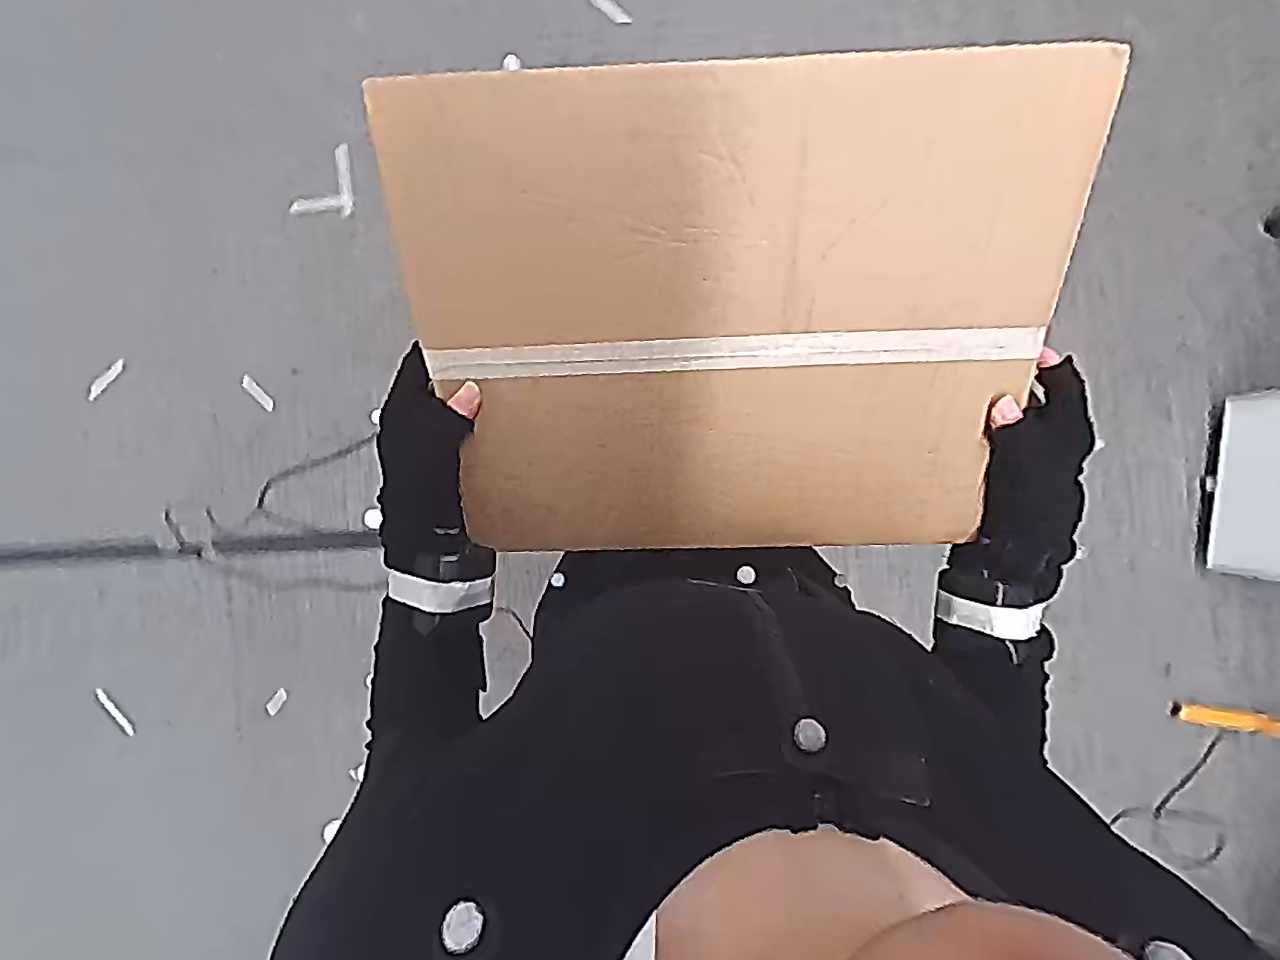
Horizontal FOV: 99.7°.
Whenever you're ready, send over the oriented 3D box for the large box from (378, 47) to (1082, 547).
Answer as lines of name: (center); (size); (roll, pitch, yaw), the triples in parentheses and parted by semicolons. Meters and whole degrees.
large box: (0.054, -0.159, 0.502); (0.408, 0.320, 0.320); (-3, 119, 2)
